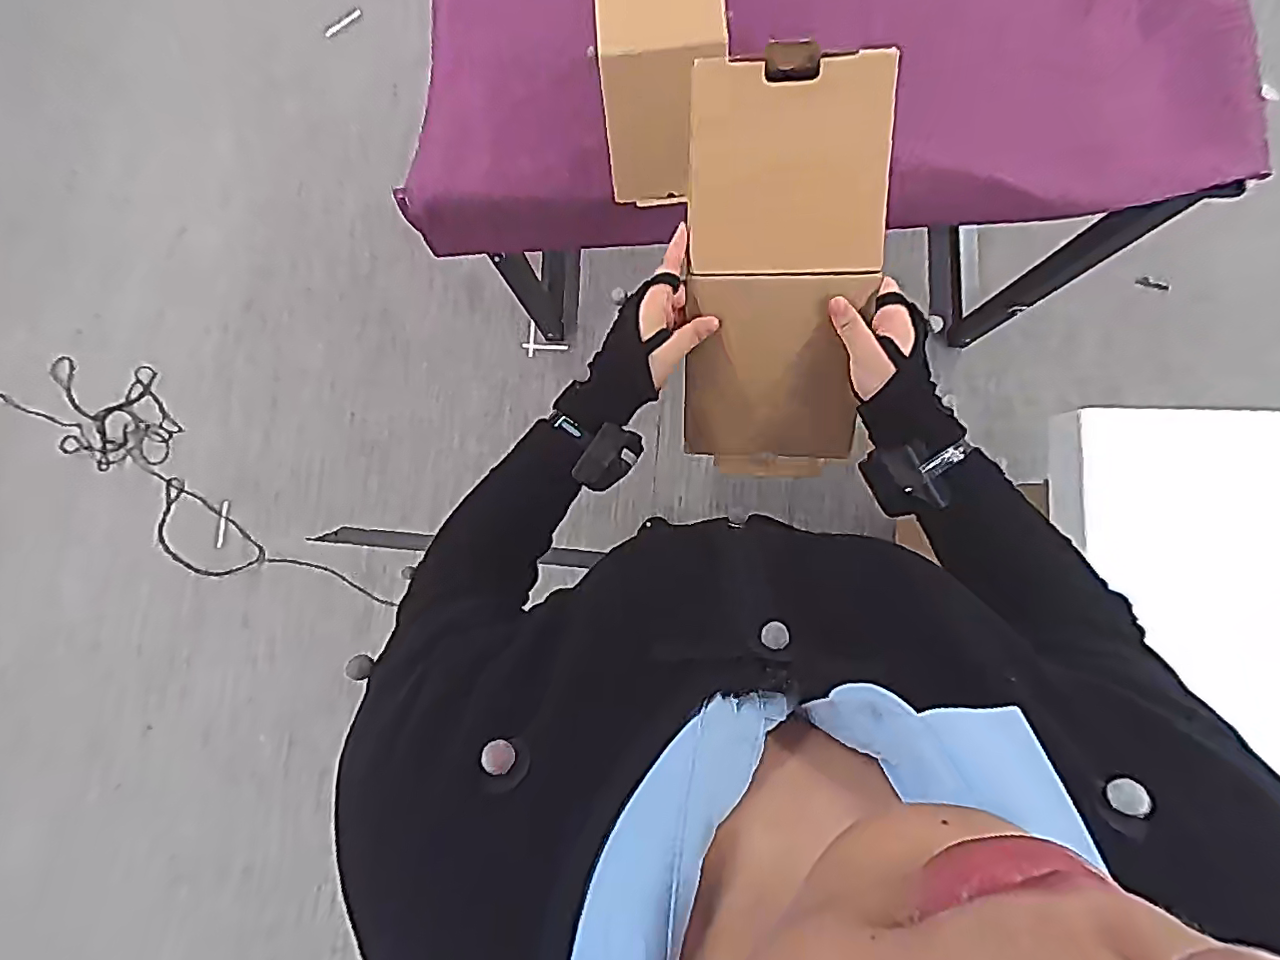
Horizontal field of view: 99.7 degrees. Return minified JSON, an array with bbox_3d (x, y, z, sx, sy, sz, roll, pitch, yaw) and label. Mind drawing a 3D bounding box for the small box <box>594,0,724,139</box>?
[{"bbox_3d":[0.028,-0.618,0.768,0.168,0.176,0.179,-4,83,3],"label":"small box"}]
